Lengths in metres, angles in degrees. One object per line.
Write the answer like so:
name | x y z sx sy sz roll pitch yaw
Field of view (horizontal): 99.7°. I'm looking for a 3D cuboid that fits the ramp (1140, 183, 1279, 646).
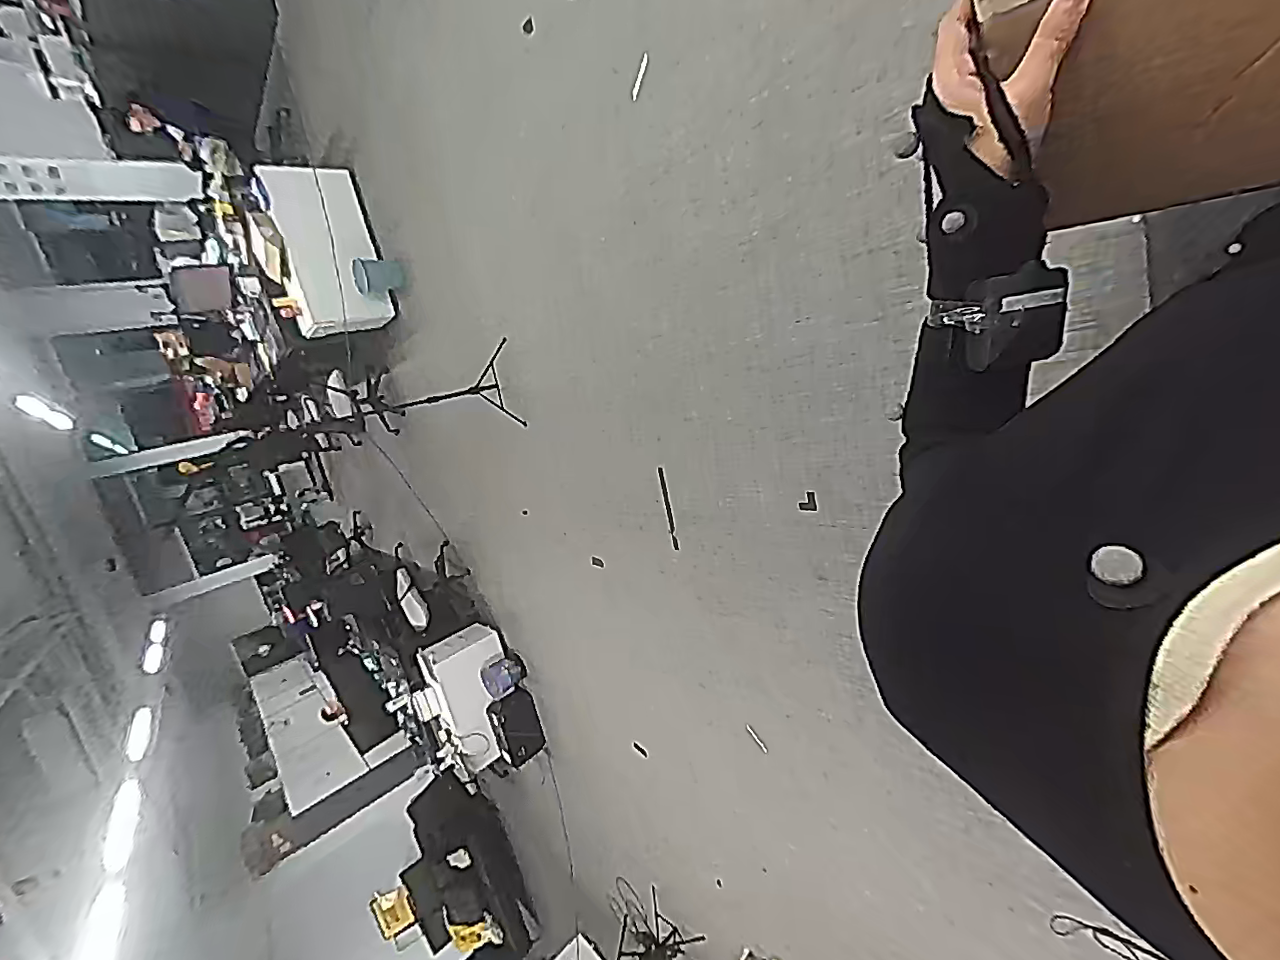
ramp | 1.216 -0.089 0.916 0.509 0.206 0.991 -3 106 49
